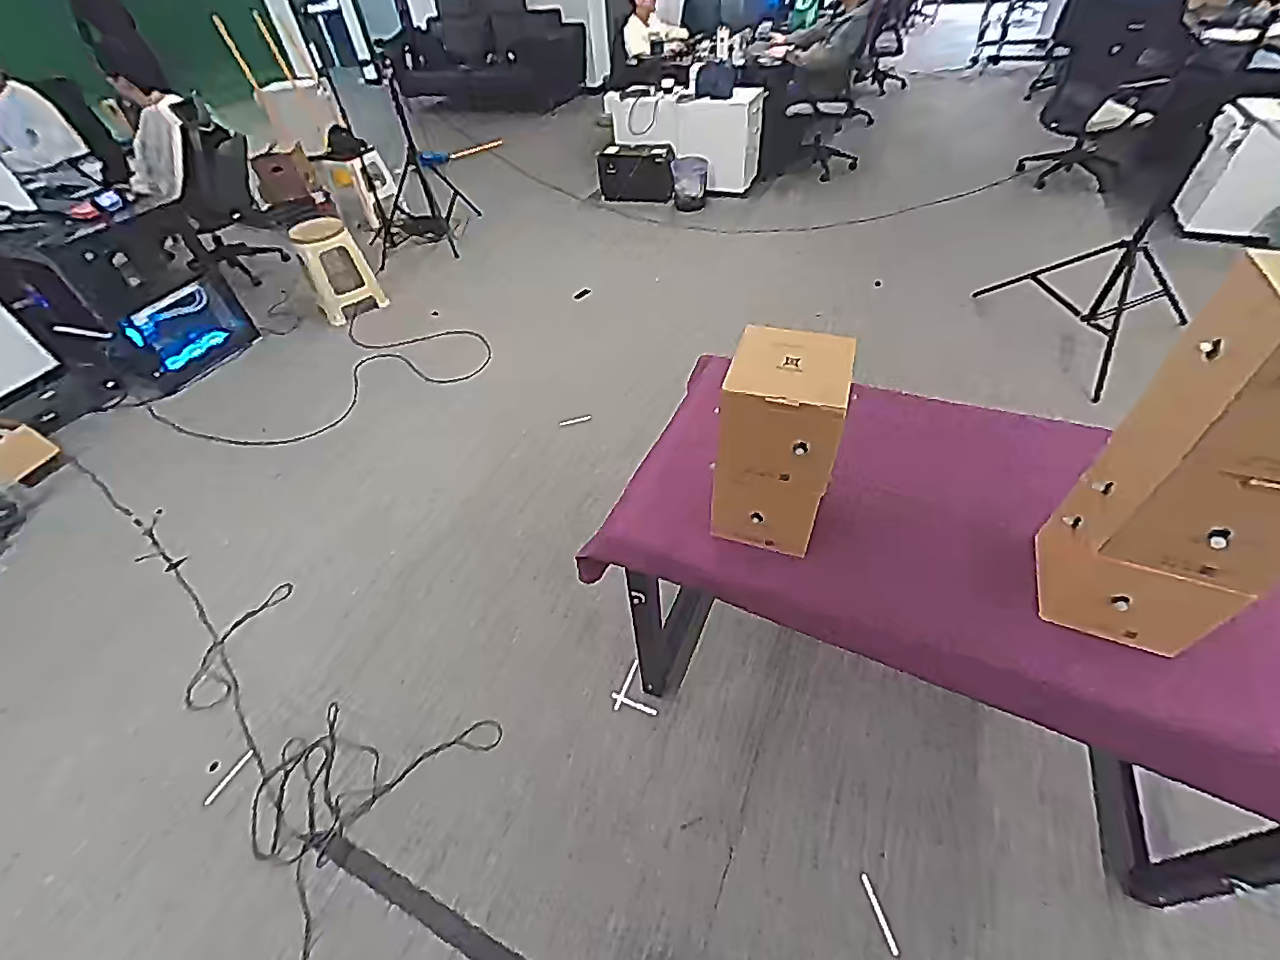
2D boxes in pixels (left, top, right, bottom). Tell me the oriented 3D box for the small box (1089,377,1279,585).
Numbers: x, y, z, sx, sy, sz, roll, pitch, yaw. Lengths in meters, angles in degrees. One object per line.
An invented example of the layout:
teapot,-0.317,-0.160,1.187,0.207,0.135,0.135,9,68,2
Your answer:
small box,0.702,0.002,0.674,0.168,0.176,0.179,16,50,20

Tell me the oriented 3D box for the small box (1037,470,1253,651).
small box,0.711,0.119,0.789,0.168,0.176,0.179,16,49,19

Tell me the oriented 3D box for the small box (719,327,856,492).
small box,0.218,-0.106,0.818,0.168,0.176,0.179,12,47,14

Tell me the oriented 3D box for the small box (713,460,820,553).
small box,0.228,0.001,0.940,0.168,0.176,0.179,13,48,16
